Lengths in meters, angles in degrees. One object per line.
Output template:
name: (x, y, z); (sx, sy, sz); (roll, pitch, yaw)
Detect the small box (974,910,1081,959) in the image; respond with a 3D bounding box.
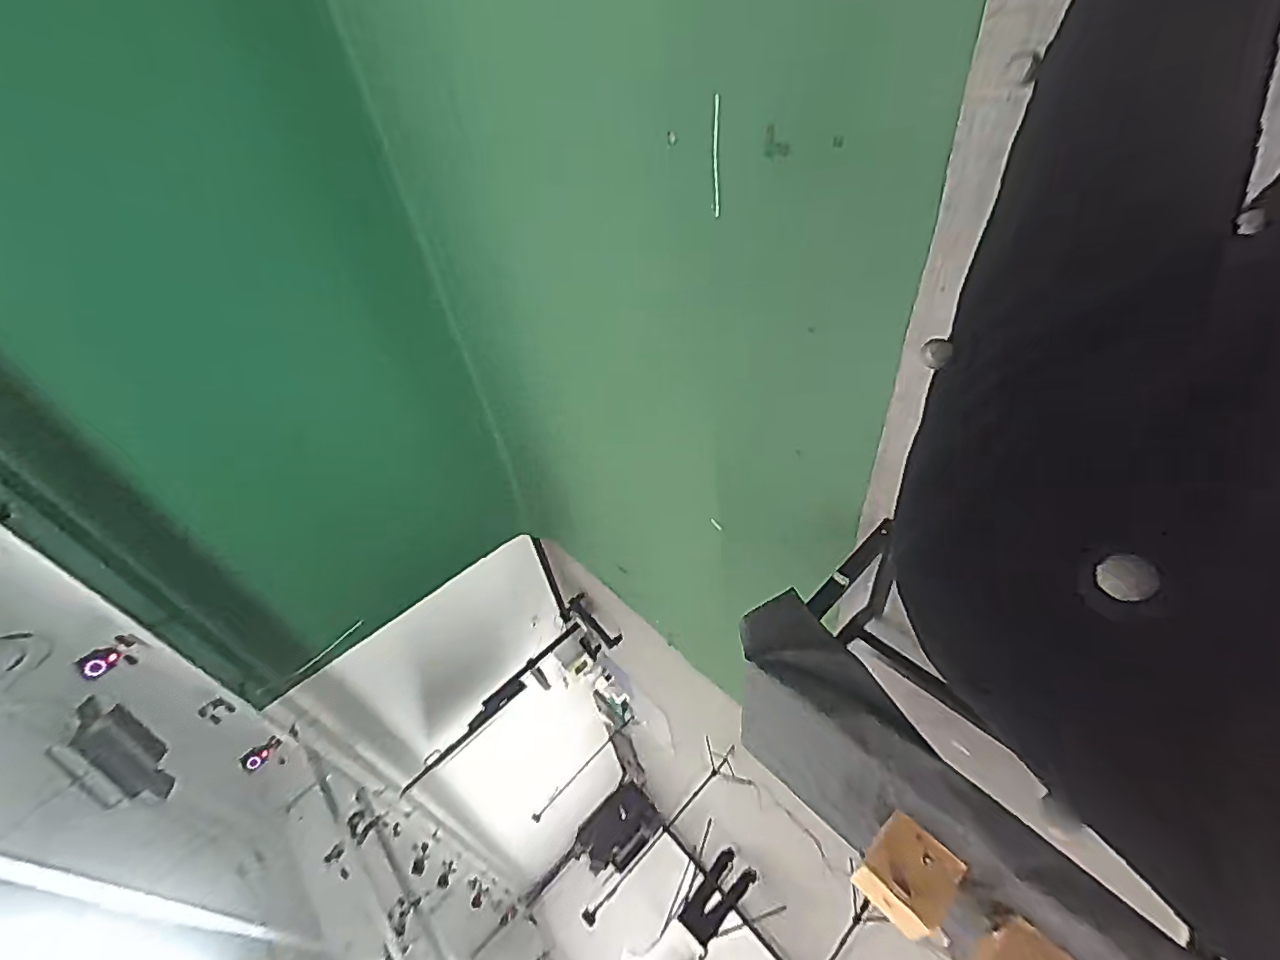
small box: (0.831, 1.058, 1.133); (0.179, 0.176, 0.168); (36, 148, 35)

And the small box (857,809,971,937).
small box: (0.648, 0.929, 1.284); (0.168, 0.176, 0.179); (35, 148, 35)
